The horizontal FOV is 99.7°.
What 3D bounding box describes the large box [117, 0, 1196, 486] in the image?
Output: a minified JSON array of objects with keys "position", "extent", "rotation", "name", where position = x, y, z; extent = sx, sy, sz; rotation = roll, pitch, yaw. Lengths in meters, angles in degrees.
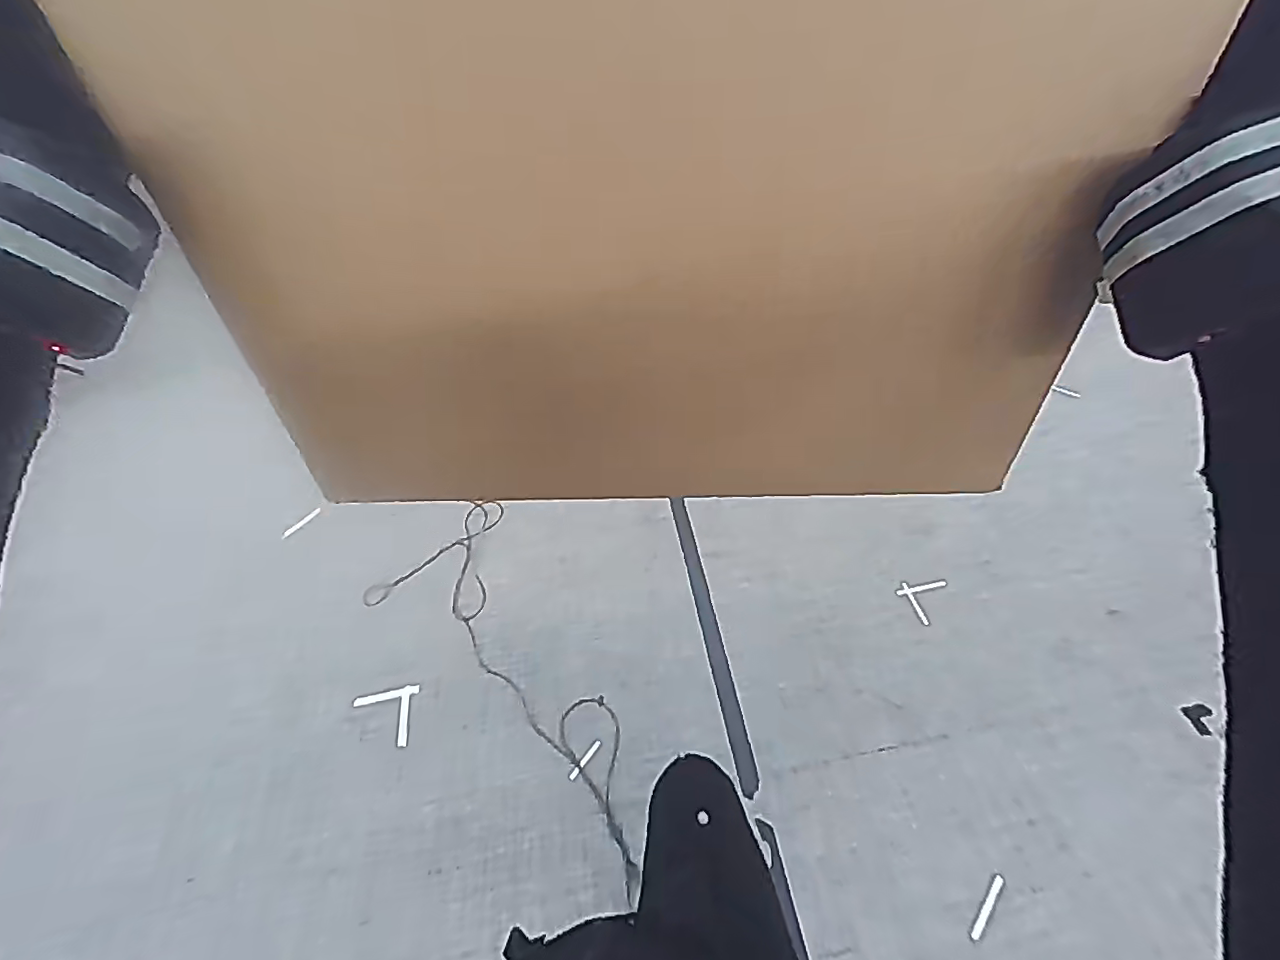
[{"position":[0.008,-0.209,0.357],"extent":[0.408,0.320,0.320],"rotation":[-1,40,2],"name":"large box"}]
